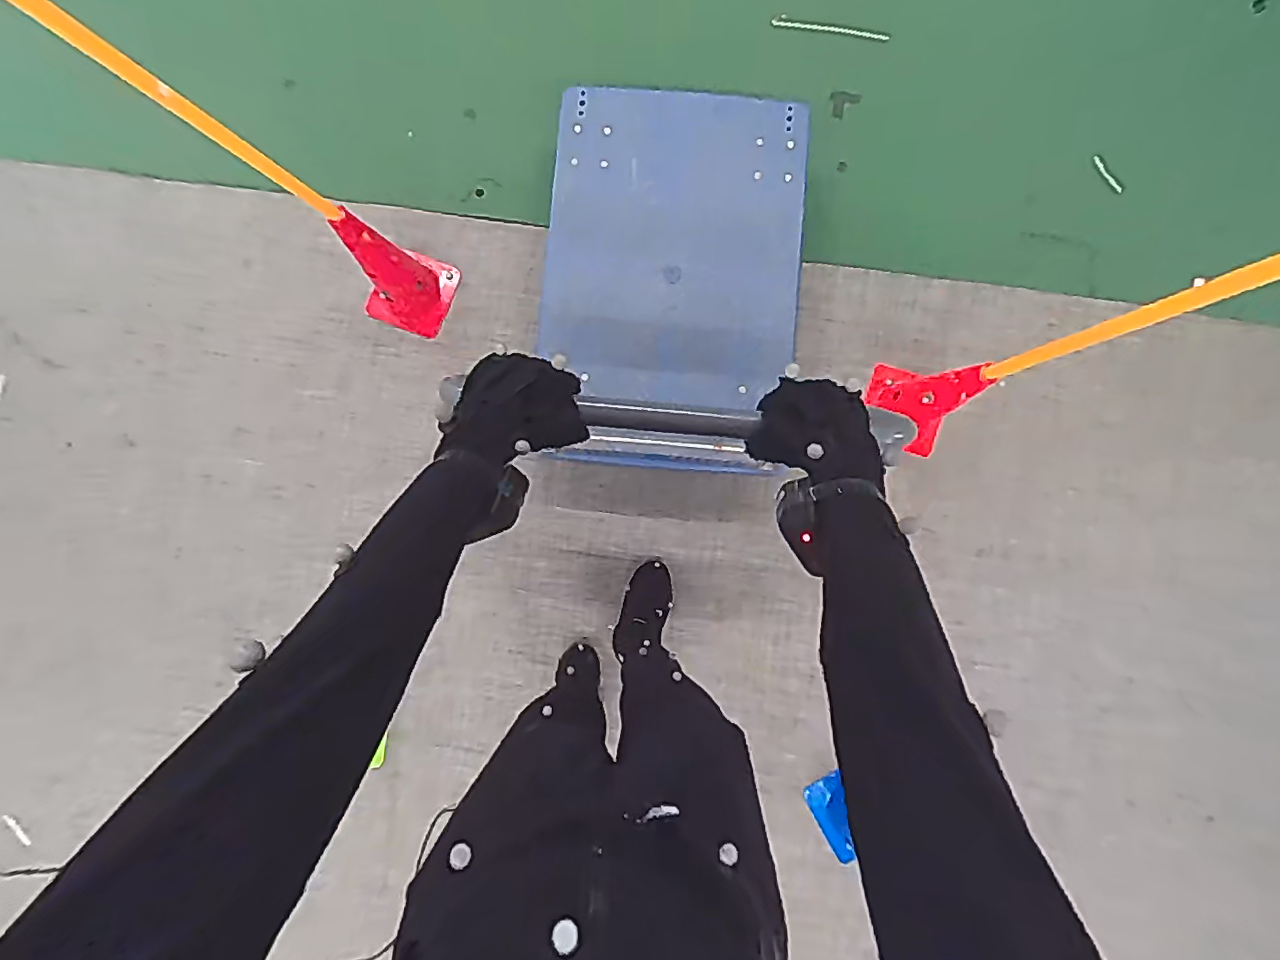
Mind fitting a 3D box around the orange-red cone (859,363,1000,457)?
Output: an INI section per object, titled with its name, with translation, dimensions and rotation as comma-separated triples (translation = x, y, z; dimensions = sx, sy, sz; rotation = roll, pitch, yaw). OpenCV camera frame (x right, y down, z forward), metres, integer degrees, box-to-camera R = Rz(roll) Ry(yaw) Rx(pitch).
[orange-red cone]
translation = 0.669, -0.189, 1.199
dimensions = 0.198, 0.360, 0.199
rotation = 19, 86, 3
